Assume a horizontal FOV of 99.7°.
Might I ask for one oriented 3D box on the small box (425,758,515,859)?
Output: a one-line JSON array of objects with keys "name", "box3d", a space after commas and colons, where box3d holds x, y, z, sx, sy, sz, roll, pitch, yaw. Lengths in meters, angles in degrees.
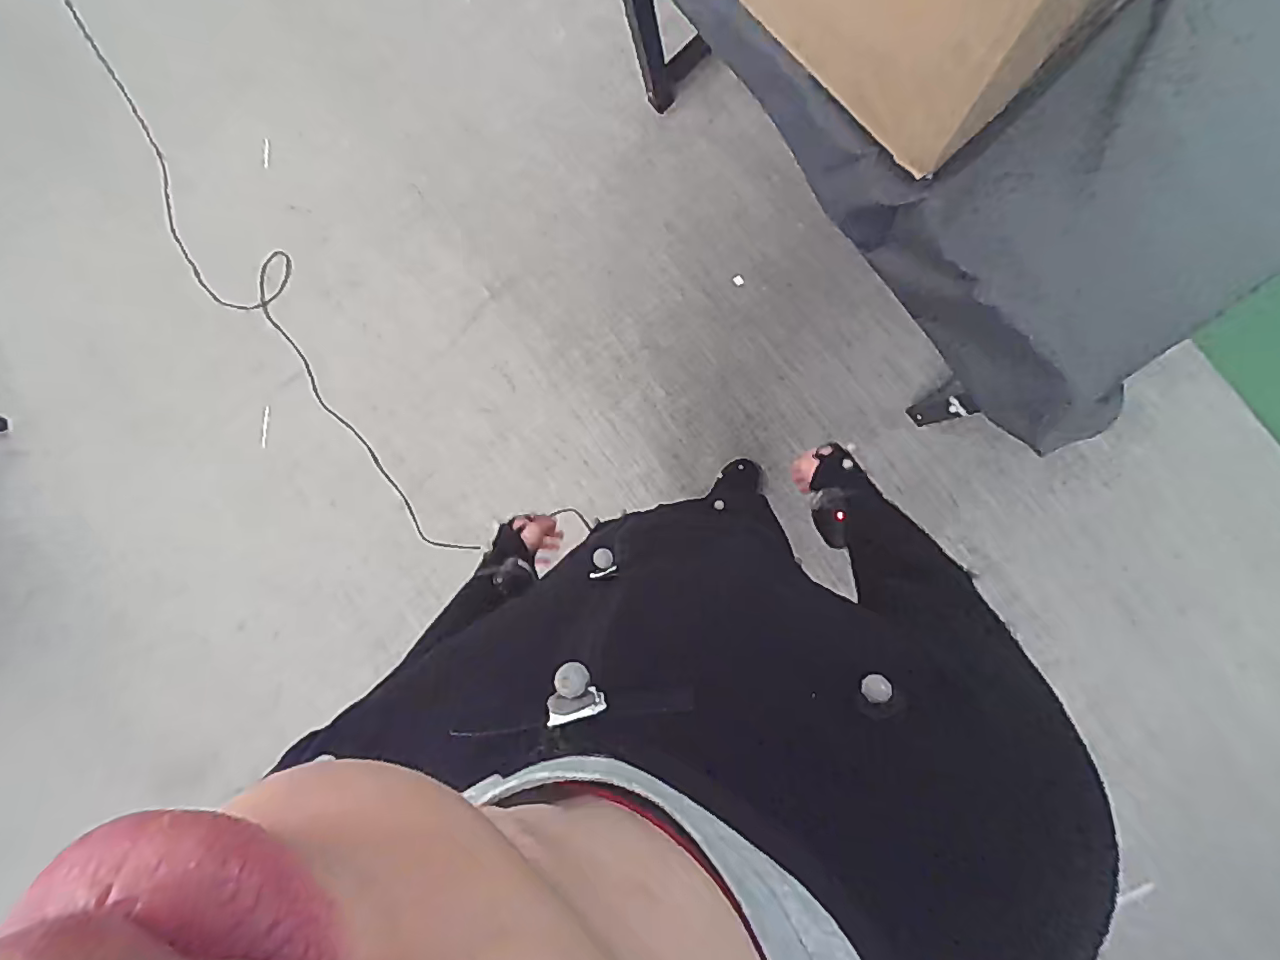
[{"name": "small box", "box3d": [-0.502, 0.983, 1.634, 0.179, 0.176, 0.168, -33, 85, 10]}]
